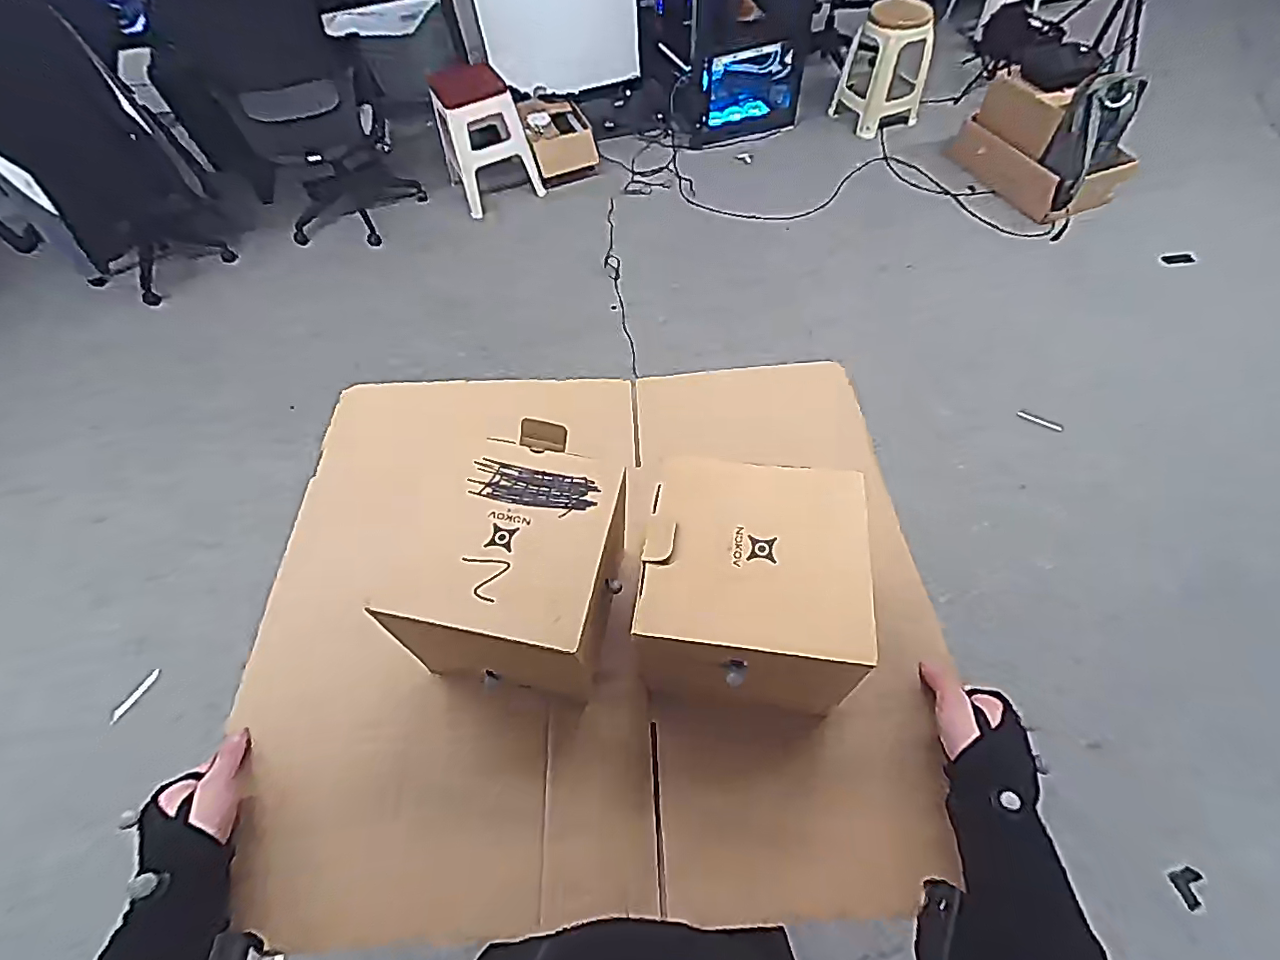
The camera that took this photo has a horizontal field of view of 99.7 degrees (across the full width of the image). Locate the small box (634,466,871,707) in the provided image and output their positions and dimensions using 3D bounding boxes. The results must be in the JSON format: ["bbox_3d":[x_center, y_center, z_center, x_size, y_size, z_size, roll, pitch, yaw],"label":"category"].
[{"bbox_3d":[0.101,0.105,0.508,0.179,0.176,0.168,4,57,10],"label":"small box"}]
